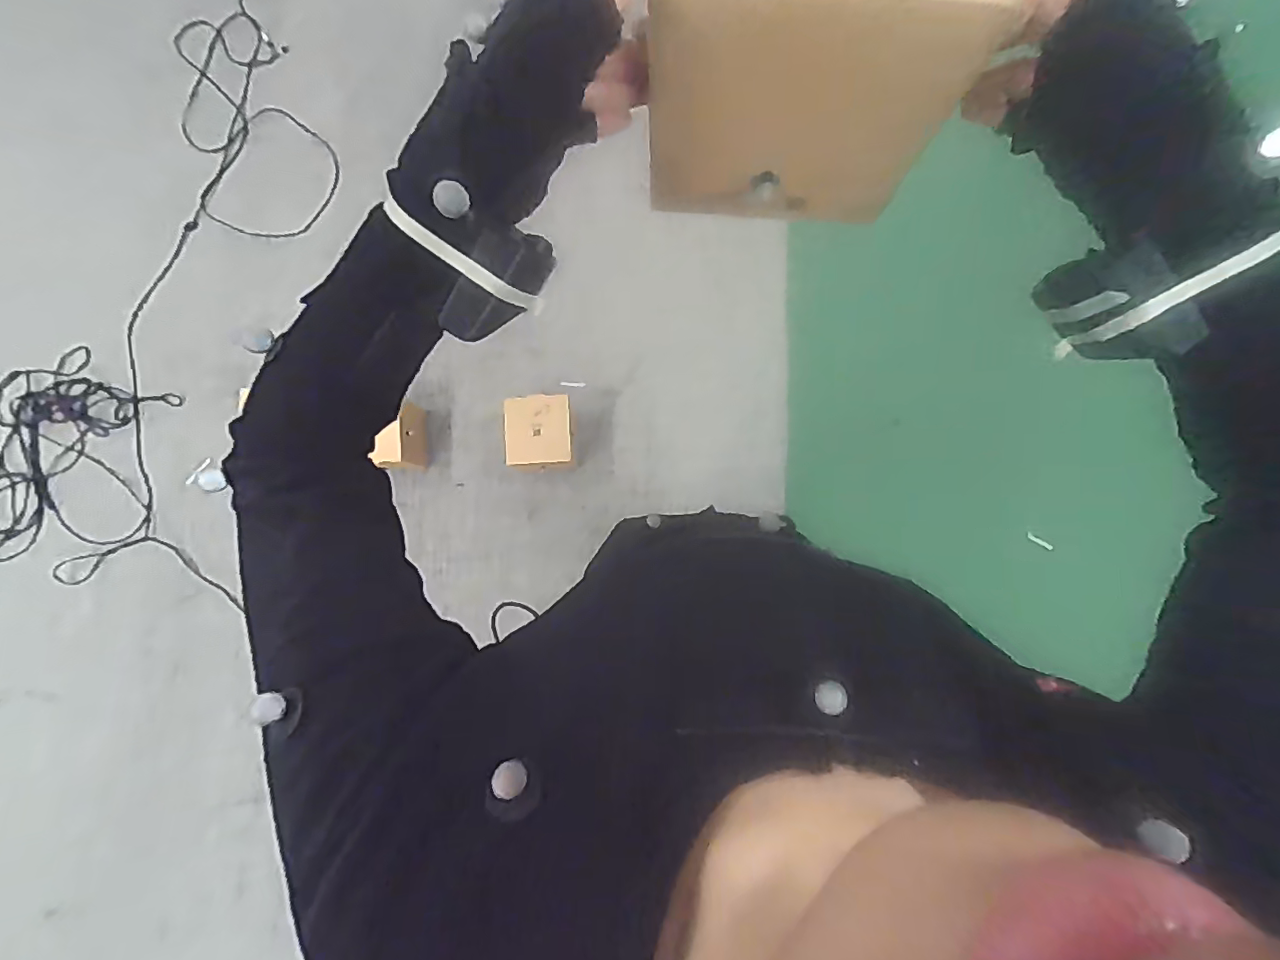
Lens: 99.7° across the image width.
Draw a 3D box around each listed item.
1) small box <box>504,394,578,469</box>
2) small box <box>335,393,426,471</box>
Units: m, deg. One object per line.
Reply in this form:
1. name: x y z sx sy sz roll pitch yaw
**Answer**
1. small box: -0.258 -0.122 1.434 0.168 0.176 0.179 -3 86 -1
2. small box: -0.684 -0.122 1.441 0.168 0.176 0.179 -4 86 1
